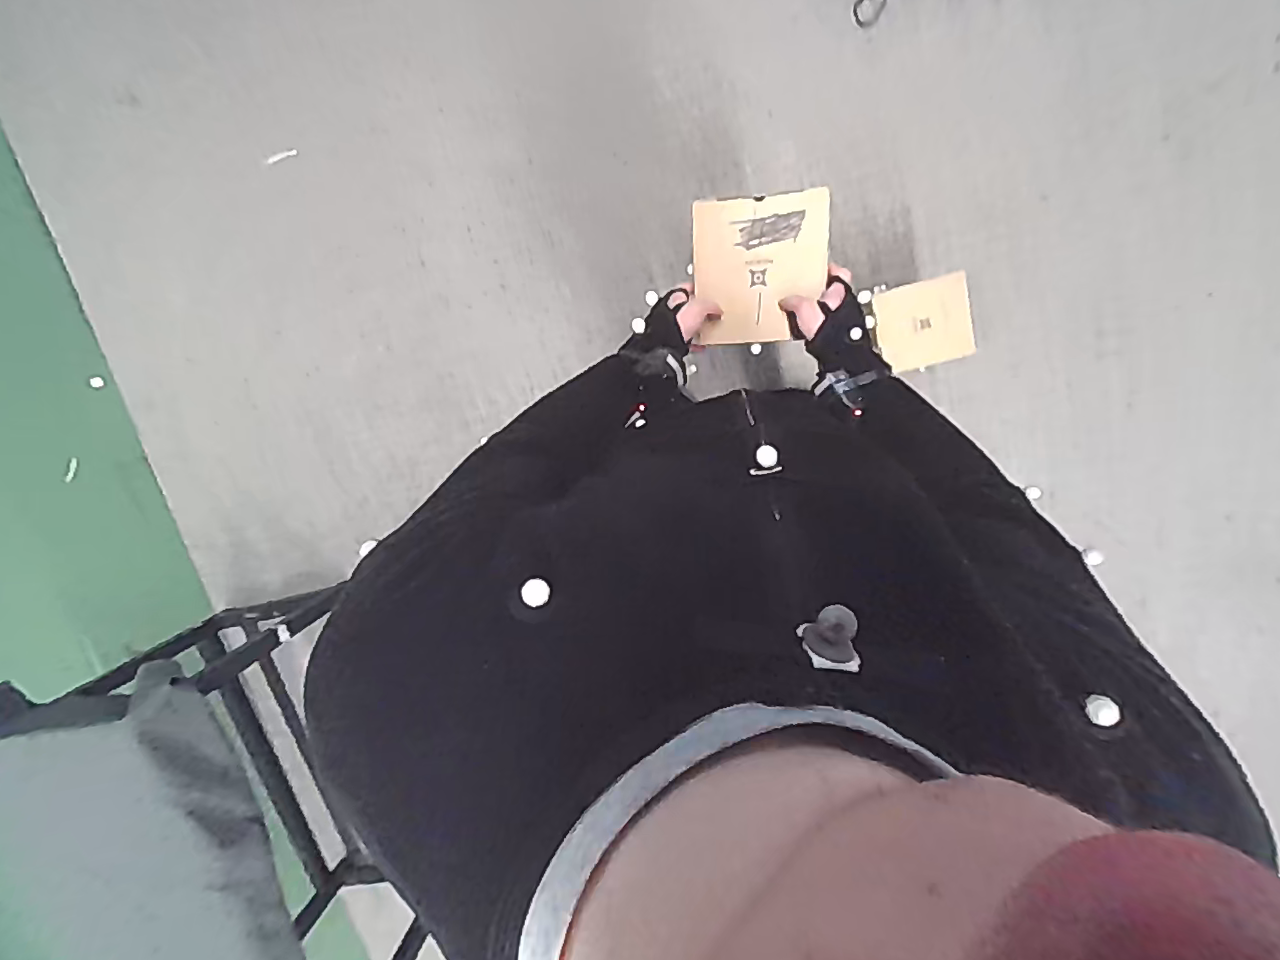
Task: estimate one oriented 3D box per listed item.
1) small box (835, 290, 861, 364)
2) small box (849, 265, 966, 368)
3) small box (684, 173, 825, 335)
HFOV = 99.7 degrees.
[{"bbox_3d":[0.579,-0.382,1.301,0.179,0.176,0.168,-13,102,13],"label":"small box"},{"bbox_3d":[0.555,-0.340,1.146,0.179,0.176,0.168,-13,103,11],"label":"small box"},{"bbox_3d":[0.150,-0.289,0.731,0.168,0.176,0.179,0,105,12],"label":"small box"}]
